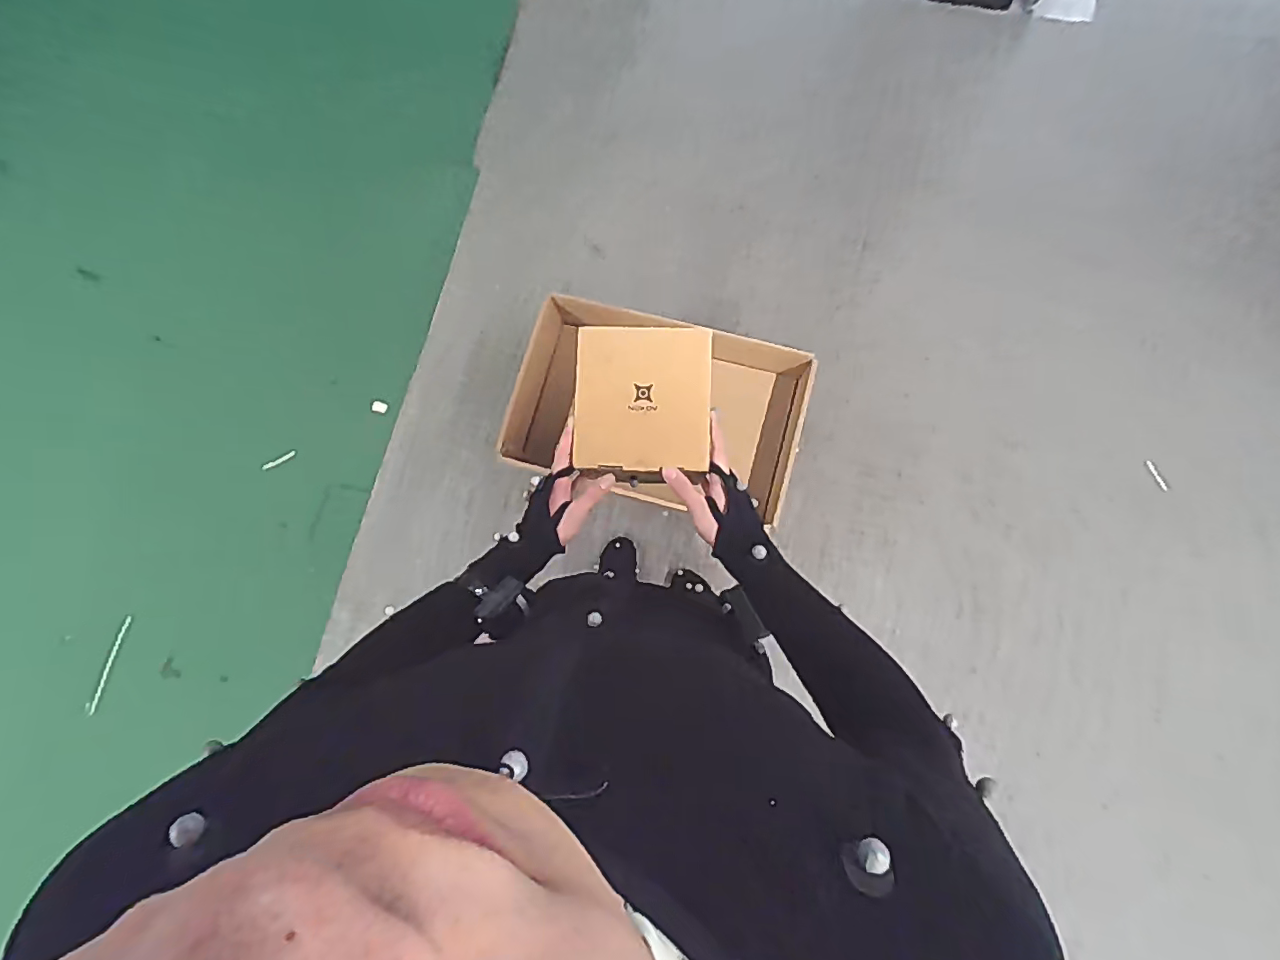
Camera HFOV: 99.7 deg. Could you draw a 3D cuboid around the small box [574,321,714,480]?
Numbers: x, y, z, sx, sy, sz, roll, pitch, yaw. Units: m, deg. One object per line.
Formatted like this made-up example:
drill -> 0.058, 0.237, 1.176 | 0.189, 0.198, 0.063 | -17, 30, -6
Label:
small box -> 0.006, -0.097, 0.724 | 0.168, 0.176, 0.179 | 1, 86, 2
